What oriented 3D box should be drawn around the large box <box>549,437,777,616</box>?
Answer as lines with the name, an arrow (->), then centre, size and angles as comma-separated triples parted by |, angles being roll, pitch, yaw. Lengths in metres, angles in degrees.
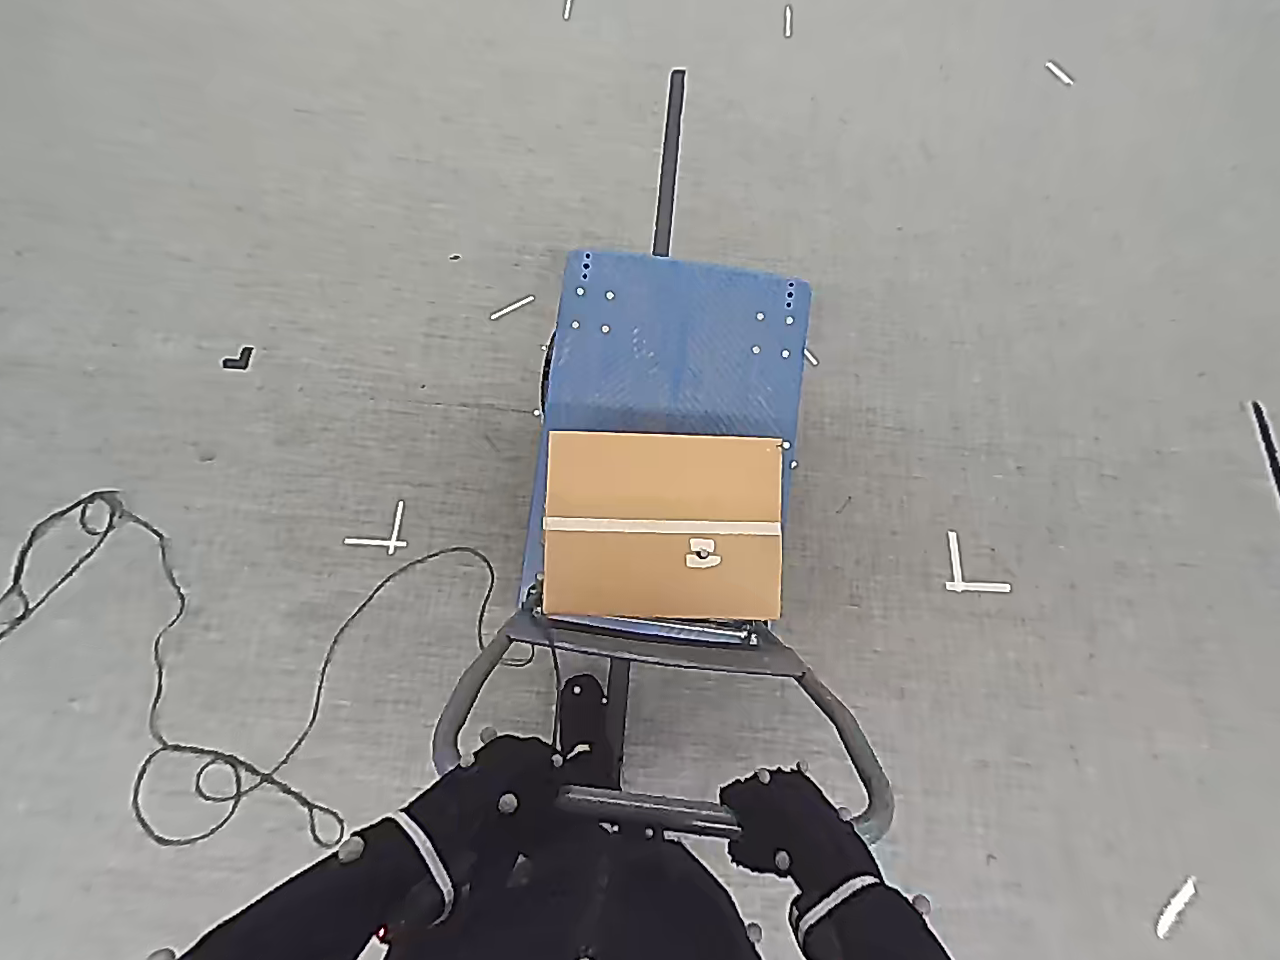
large box -> 0.035, 0.091, 1.094 | 0.408, 0.320, 0.320 | 2, 87, -3
